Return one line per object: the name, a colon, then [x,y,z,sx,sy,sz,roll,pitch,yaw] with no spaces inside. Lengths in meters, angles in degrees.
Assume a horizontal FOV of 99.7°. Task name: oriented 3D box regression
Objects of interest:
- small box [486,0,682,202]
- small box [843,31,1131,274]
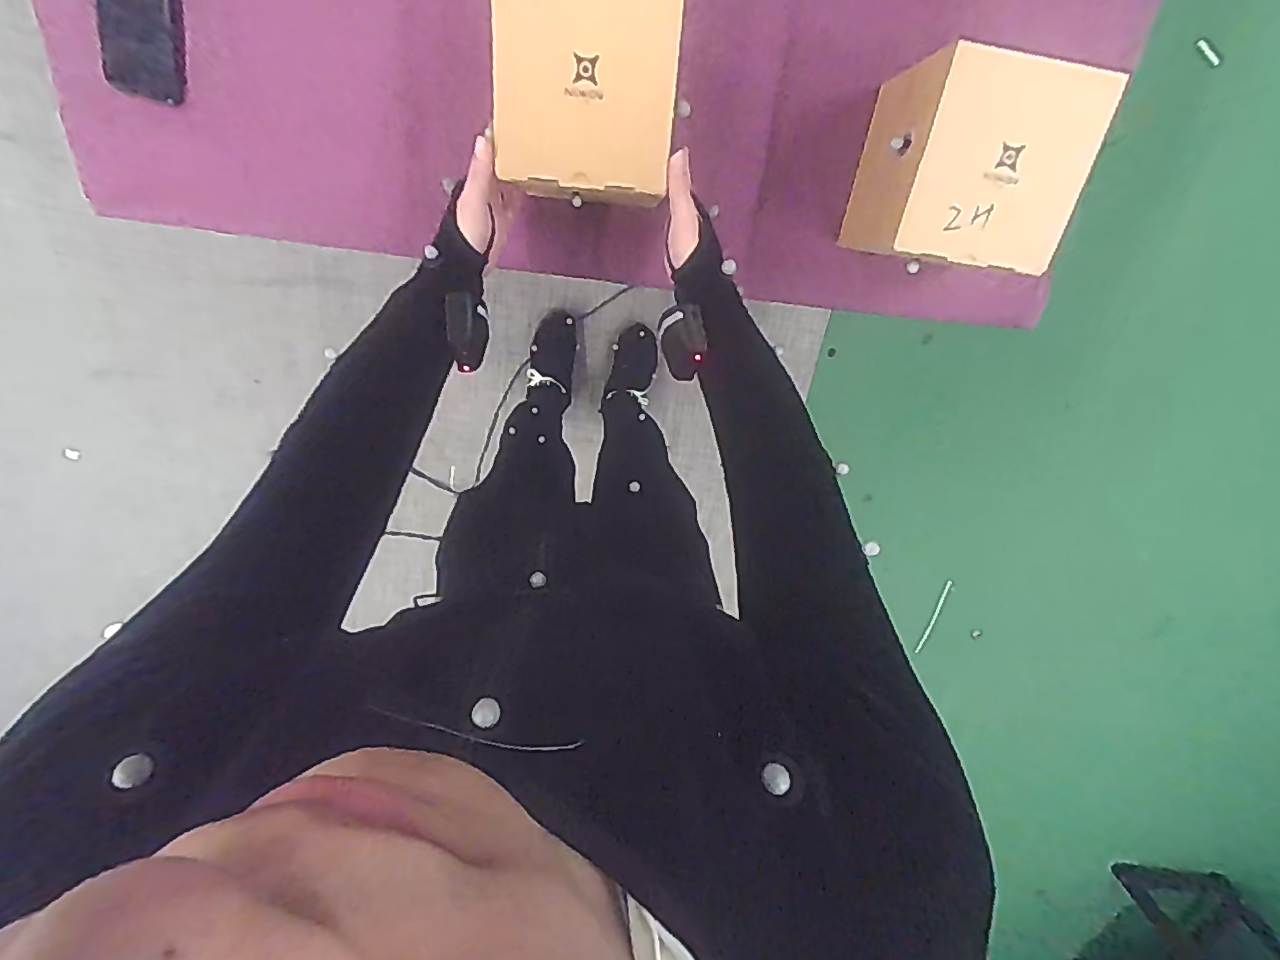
small box: [-0.055,-0.390,0.546,0.168,0.176,0.179,4,115,-3]
small box: [0.340,-0.330,0.577,0.168,0.176,0.179,8,115,-4]
